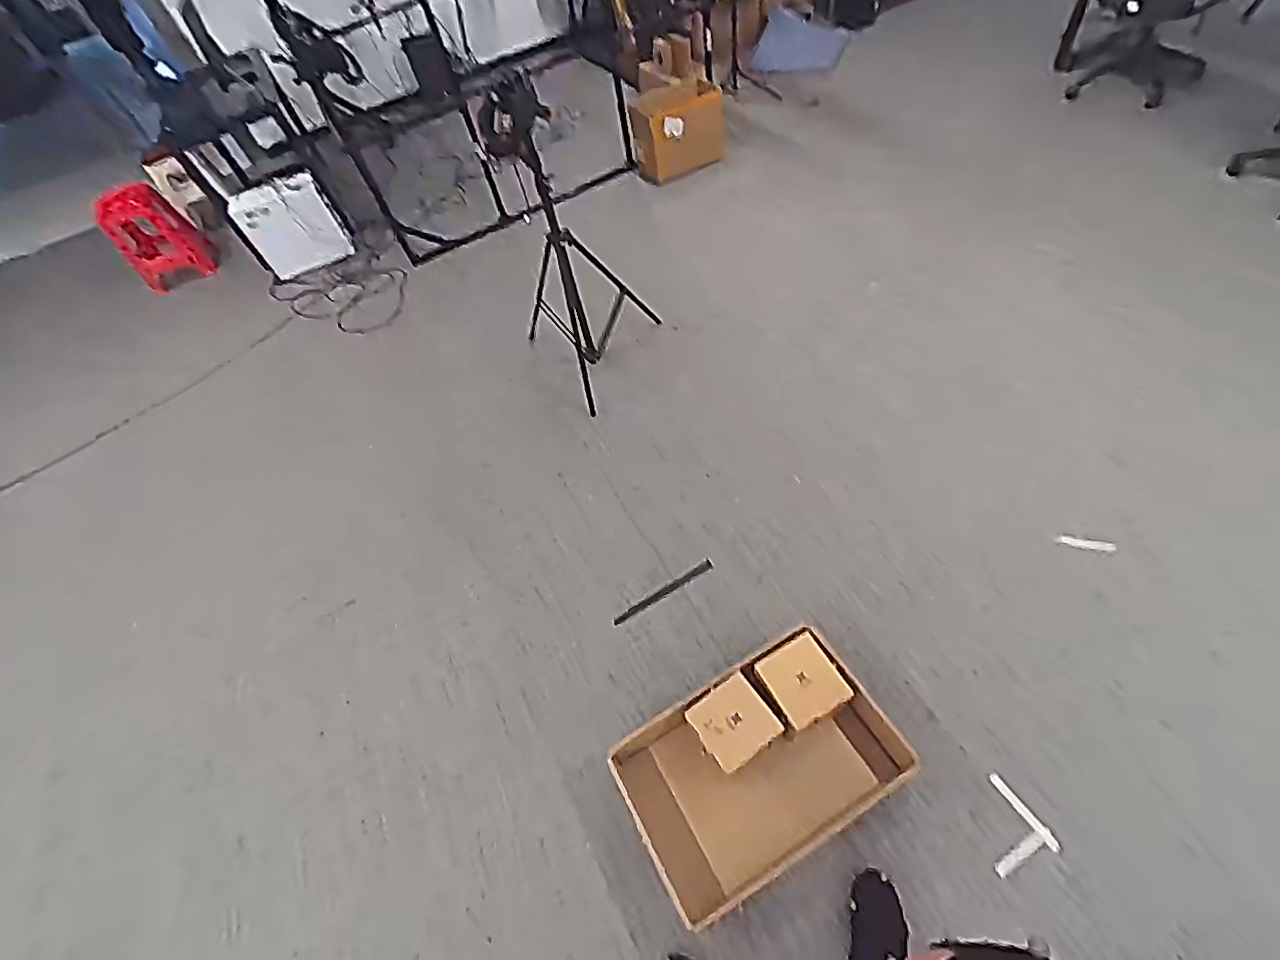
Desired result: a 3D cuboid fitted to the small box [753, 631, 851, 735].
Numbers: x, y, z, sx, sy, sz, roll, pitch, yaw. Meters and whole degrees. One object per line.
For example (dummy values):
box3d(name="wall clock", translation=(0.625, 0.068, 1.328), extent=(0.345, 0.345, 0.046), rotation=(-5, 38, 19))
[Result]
box3d(name="small box", translation=(0.401, 0.521, 1.376), extent=(0.168, 0.176, 0.179), rotation=(-30, 58, -8))
